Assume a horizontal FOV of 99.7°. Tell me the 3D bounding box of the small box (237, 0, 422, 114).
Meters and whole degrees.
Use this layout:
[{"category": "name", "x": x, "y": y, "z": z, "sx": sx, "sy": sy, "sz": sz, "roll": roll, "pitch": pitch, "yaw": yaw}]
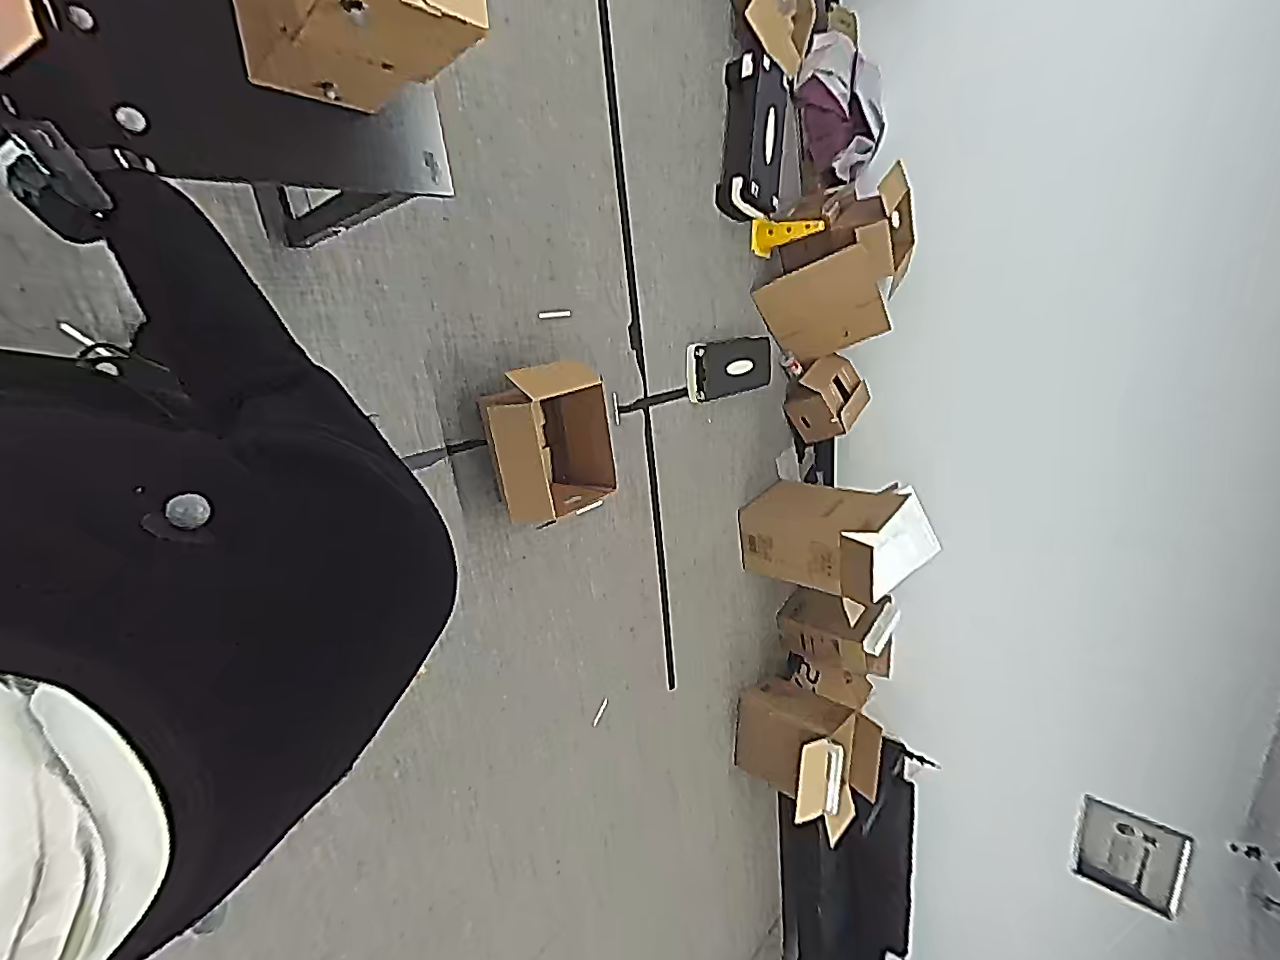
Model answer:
[{"category": "small box", "x": -0.412, "y": -0.621, "z": 0.706, "sx": 0.168, "sy": 0.176, "sz": 0.179, "roll": -17, "pitch": 110, "yaw": -44}]
